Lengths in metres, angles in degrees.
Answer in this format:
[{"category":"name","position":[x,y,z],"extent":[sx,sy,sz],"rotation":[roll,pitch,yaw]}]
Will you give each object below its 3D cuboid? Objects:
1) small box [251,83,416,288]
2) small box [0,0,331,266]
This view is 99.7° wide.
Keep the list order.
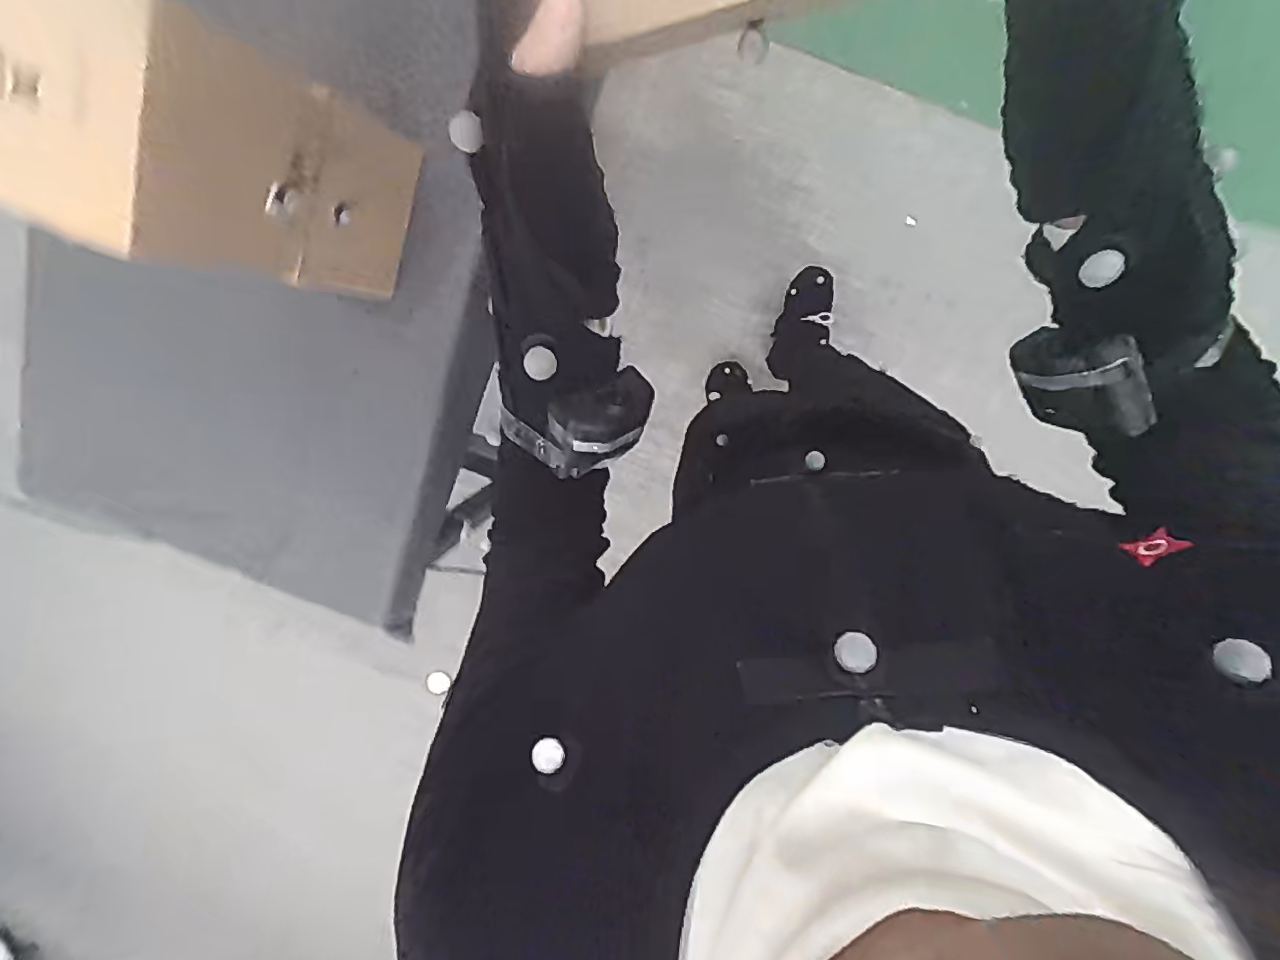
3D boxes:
[{"category":"small box","position":[-0.373,-0.325,0.595],"extent":[0.168,0.176,0.179],"rotation":[20,106,2]},{"category":"small box","position":[-0.397,-0.287,0.440],"extent":[0.179,0.176,0.168],"rotation":[21,108,1]}]
